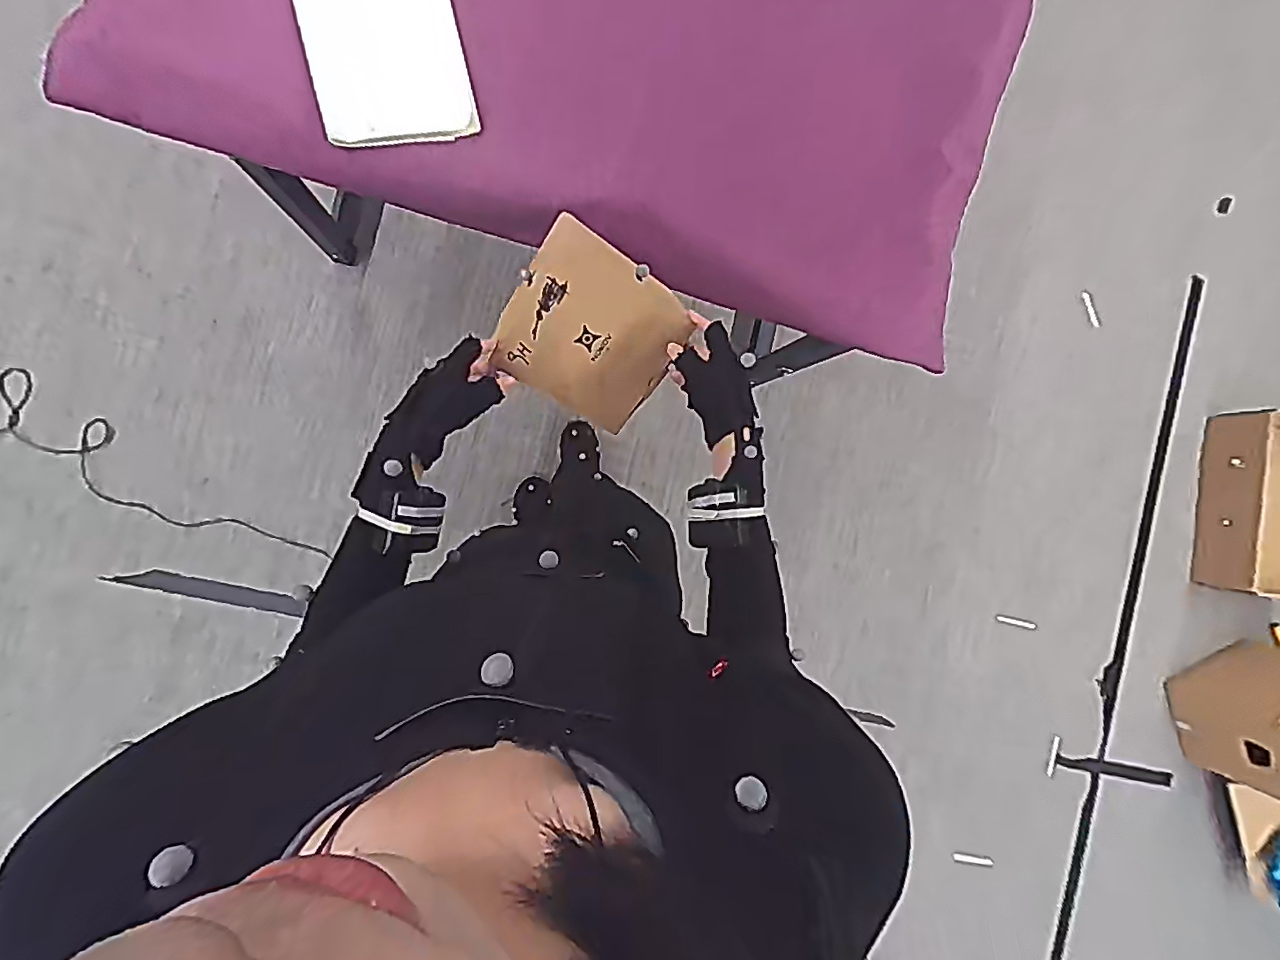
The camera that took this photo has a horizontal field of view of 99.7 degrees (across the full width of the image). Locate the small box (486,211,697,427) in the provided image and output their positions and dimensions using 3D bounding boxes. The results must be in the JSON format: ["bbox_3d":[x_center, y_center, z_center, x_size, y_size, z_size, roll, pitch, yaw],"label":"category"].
[{"bbox_3d":[-0.062,-0.201,0.654,0.179,0.176,0.168,29,113,-24],"label":"small box"}]
